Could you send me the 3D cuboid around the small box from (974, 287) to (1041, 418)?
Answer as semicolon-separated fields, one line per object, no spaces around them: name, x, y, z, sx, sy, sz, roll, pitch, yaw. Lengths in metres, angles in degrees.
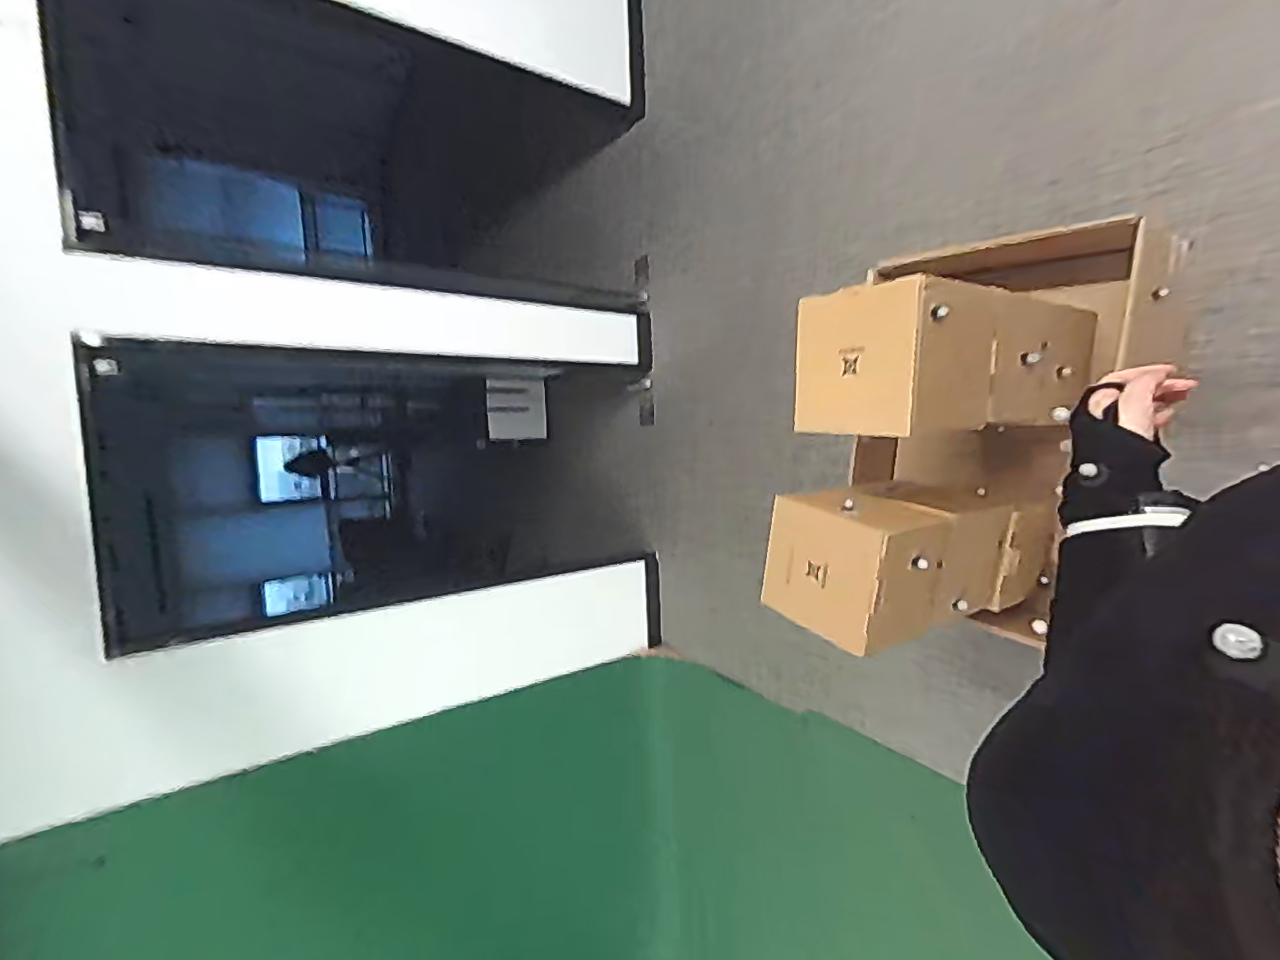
small box;0.454;-0.178;0.791;0.179;0.176;0.168;10;103;54

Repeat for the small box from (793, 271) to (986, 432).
small box;0.319;-0.157;0.699;0.168;0.176;0.179;11;104;55

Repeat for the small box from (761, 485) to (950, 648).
small box;0.302;0.106;0.764;0.179;0.176;0.168;23;113;53
